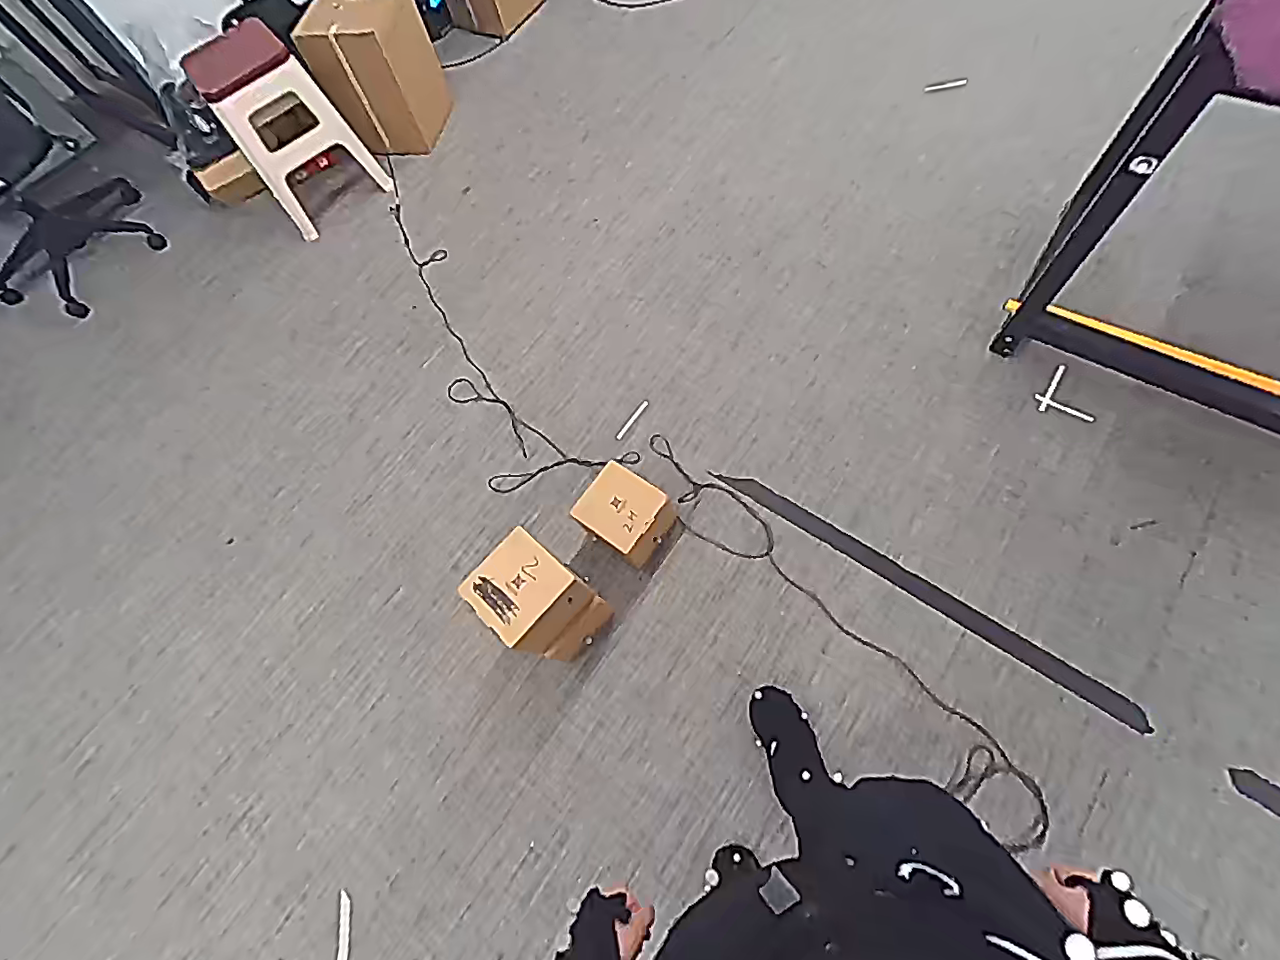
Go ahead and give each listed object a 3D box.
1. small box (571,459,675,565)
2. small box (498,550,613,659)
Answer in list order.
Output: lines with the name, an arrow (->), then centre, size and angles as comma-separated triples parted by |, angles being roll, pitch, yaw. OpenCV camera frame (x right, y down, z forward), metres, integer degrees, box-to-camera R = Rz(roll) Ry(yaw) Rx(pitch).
small box -> -0.034, 0.085, 1.305 | 0.179, 0.176, 0.168 | 33, 78, 19
small box -> -0.186, 0.293, 1.242 | 0.179, 0.176, 0.168 | 39, 79, 20
